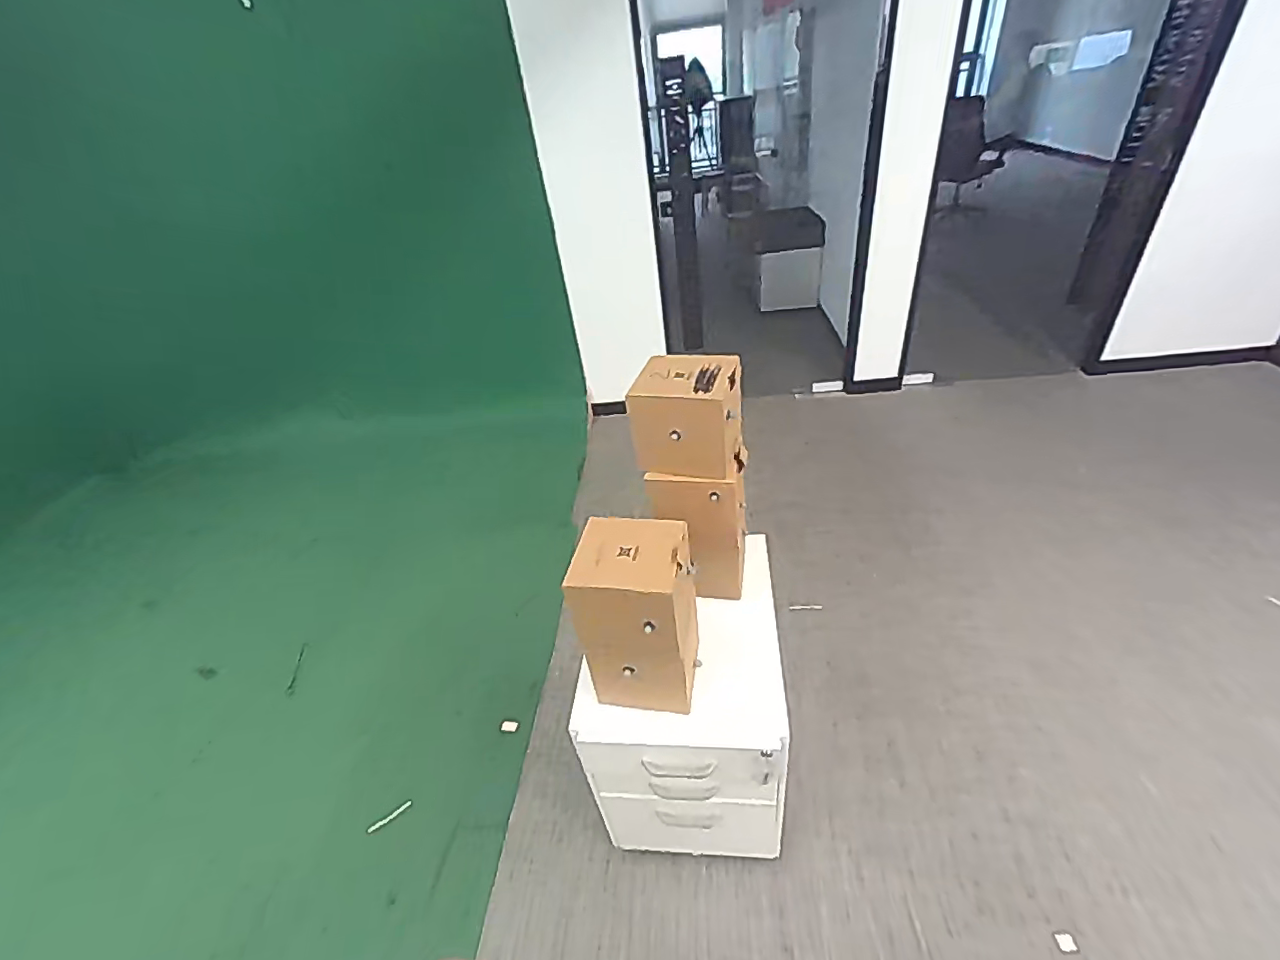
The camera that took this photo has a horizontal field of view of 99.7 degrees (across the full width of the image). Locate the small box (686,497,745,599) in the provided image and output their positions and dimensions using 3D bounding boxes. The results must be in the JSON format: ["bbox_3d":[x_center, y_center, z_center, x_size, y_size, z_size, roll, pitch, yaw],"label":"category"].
[{"bbox_3d":[0.139,0.147,1.207,0.179,0.176,0.168,2,39,15],"label":"small box"}]

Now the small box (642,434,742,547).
[{"bbox_3d":[0.114,0.021,1.108,0.179,0.176,0.168,2,38,14],"label":"small box"}]

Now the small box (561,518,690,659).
[{"bbox_3d":[-0.013,0.183,0.916,0.179,0.176,0.168,1,36,13],"label":"small box"}]

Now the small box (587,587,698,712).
[{"bbox_3d":[0.010,0.310,1.014,0.179,0.176,0.168,2,37,13],"label":"small box"}]
